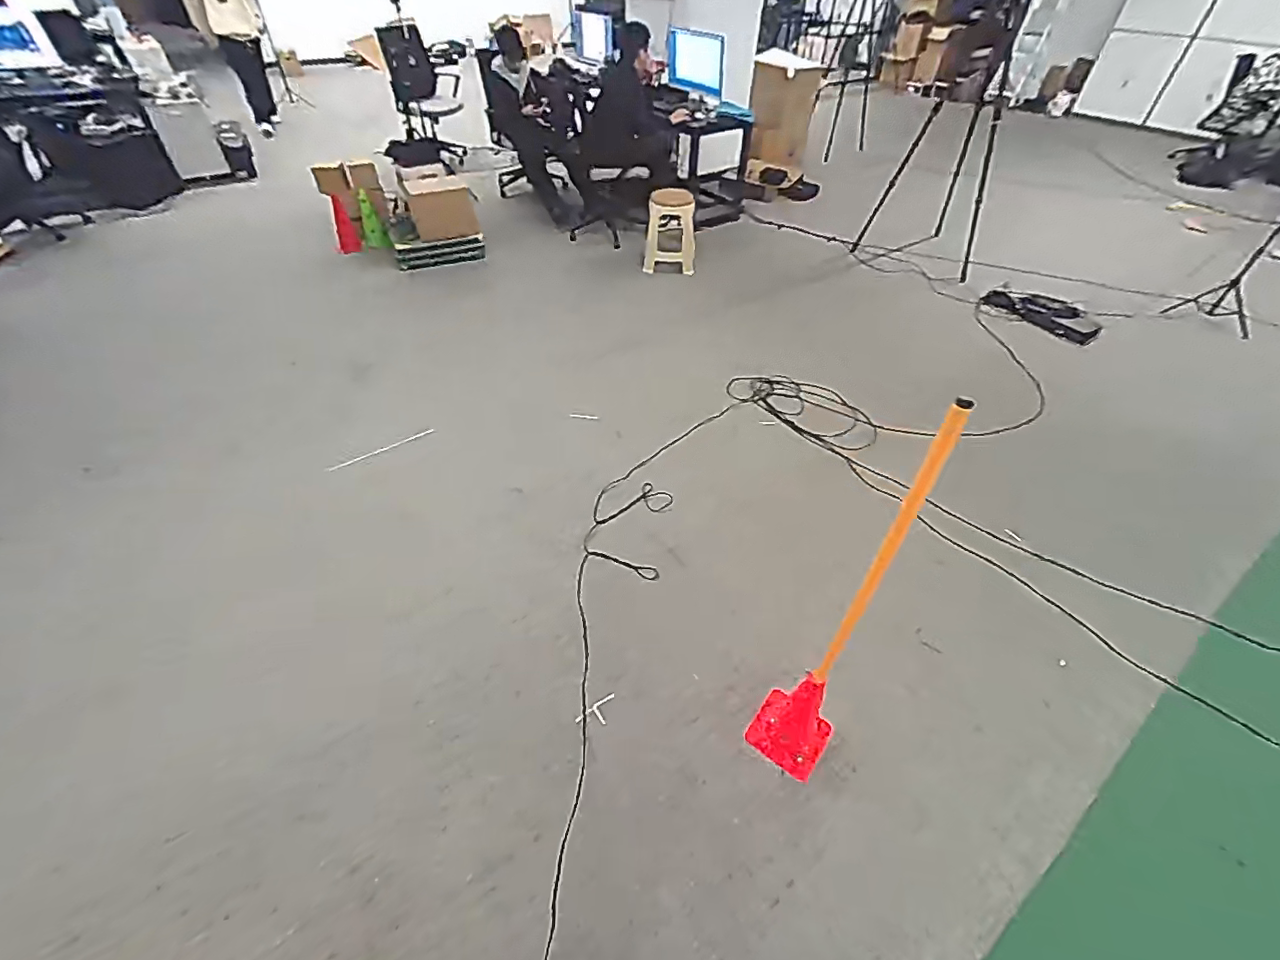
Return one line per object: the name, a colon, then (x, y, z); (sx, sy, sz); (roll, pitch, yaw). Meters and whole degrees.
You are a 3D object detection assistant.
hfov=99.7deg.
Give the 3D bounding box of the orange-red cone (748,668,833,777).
orange-red cone: (0.441, 0.601, 1.445); (0.198, 0.360, 0.199); (31, 51, 26)
